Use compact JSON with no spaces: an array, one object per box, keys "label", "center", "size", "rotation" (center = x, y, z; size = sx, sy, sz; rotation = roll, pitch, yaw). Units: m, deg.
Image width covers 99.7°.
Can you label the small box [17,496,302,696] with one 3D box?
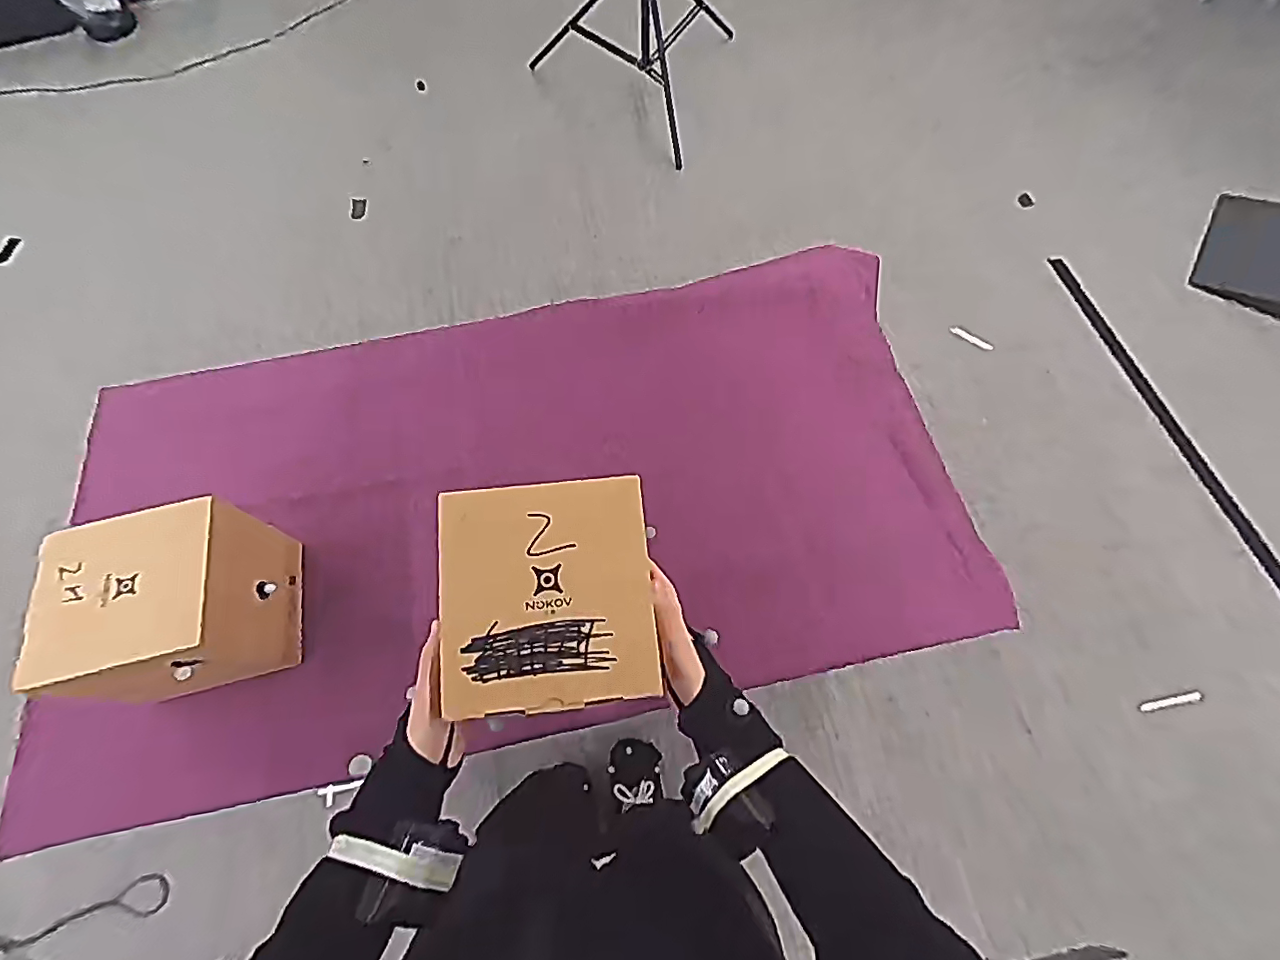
[{"label":"small box","center":[-0.520,0.140,0.620],"size":[0.179,0.176,0.168],"rotation":[-14,65,-4]}]
